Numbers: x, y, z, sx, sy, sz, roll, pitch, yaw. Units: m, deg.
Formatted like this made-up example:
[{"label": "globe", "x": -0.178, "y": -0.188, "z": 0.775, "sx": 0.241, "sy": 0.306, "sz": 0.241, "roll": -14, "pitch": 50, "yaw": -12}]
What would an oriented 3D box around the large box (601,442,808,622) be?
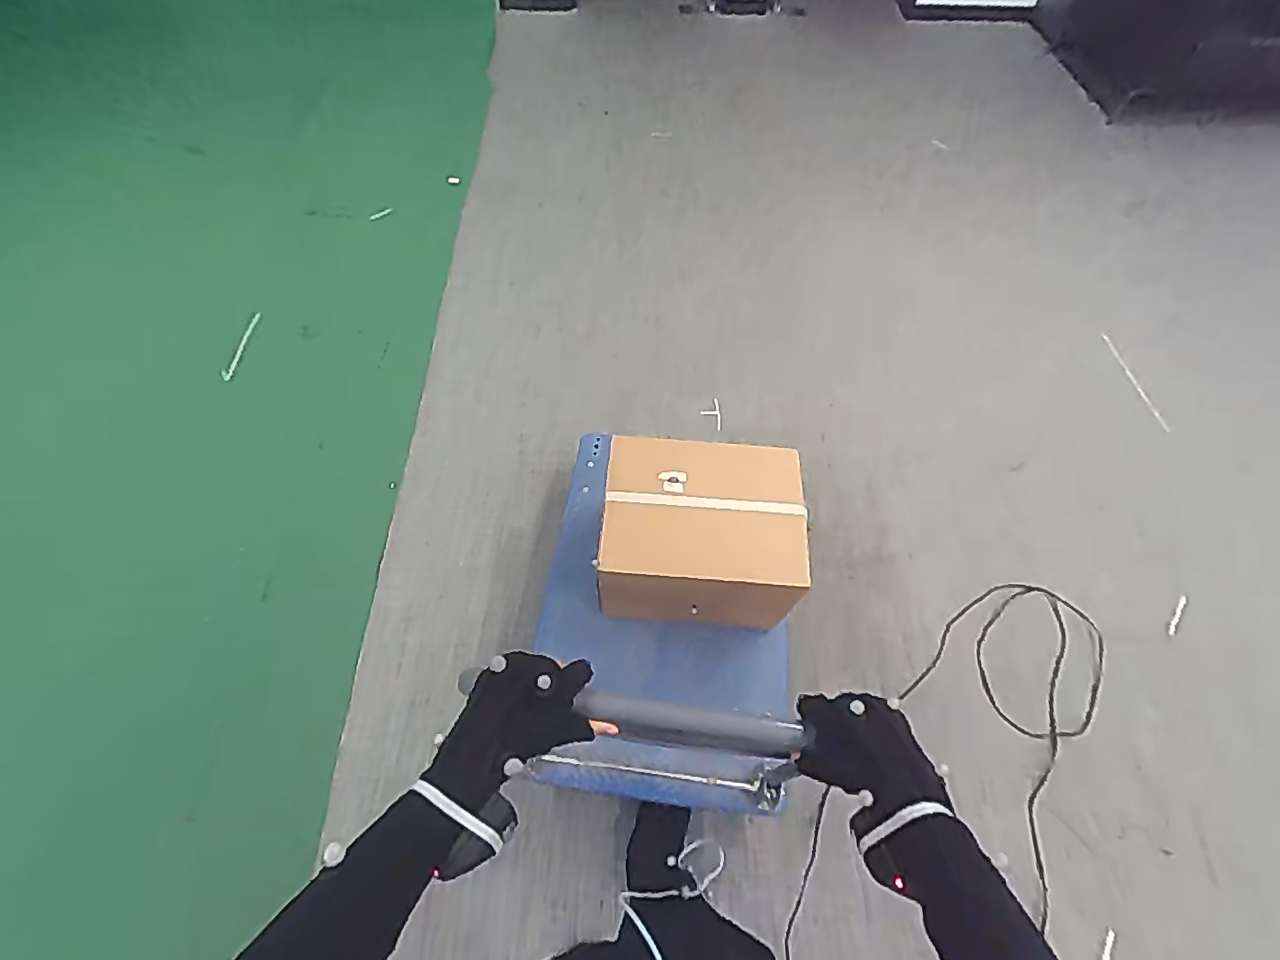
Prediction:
[{"label": "large box", "x": 0.131, "y": 0.129, "z": 1.234, "sx": 0.408, "sy": 0.320, "sz": 0.320, "roll": 3, "pitch": 60, "yaw": 1}]
